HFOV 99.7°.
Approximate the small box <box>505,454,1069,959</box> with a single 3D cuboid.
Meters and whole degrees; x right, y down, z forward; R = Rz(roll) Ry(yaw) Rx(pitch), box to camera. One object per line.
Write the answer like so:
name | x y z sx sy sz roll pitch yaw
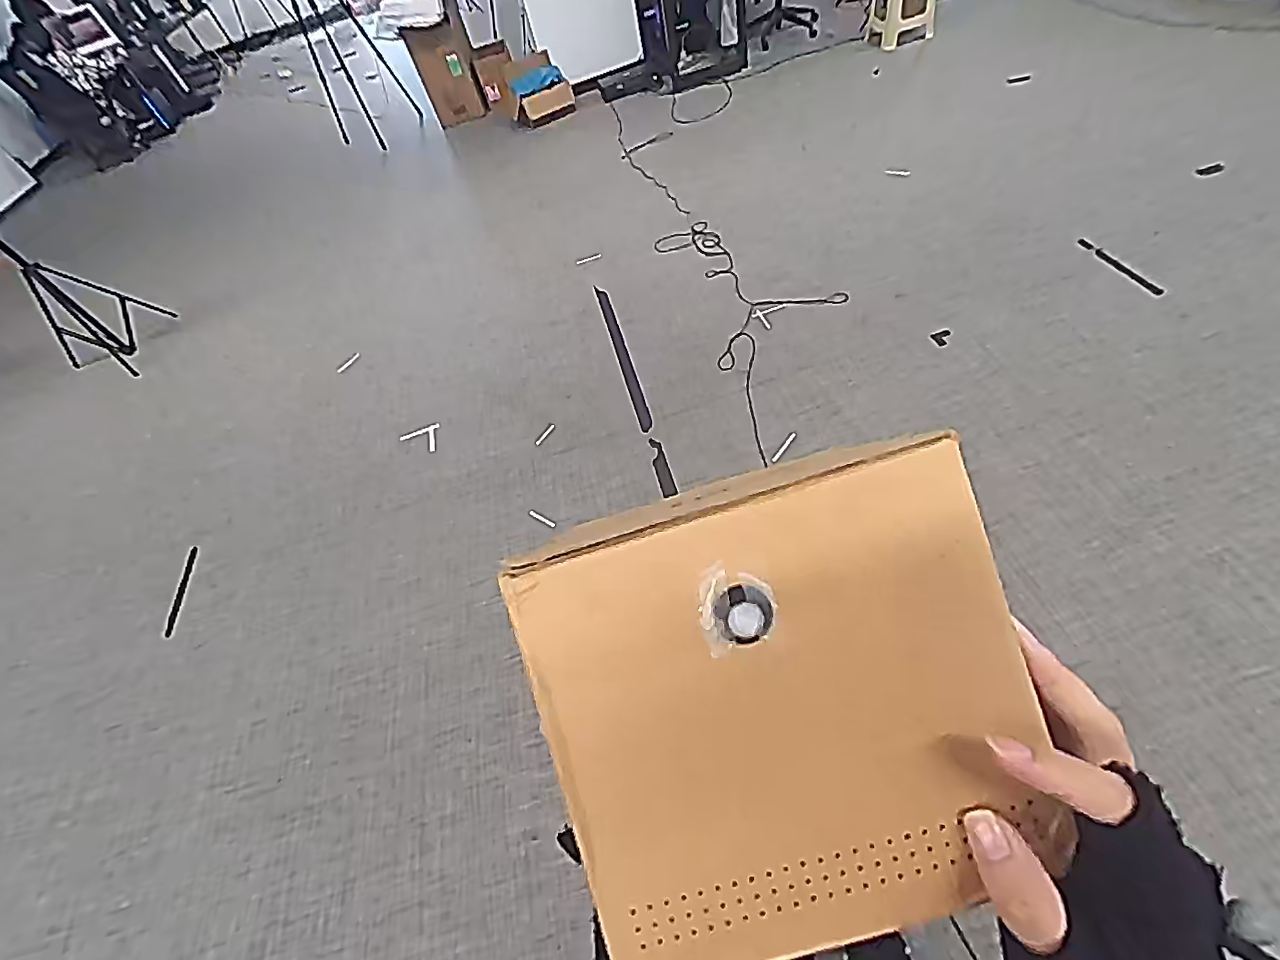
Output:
small box | 0.059 0.096 0.275 0.179 0.168 0.176 -17 89 3
